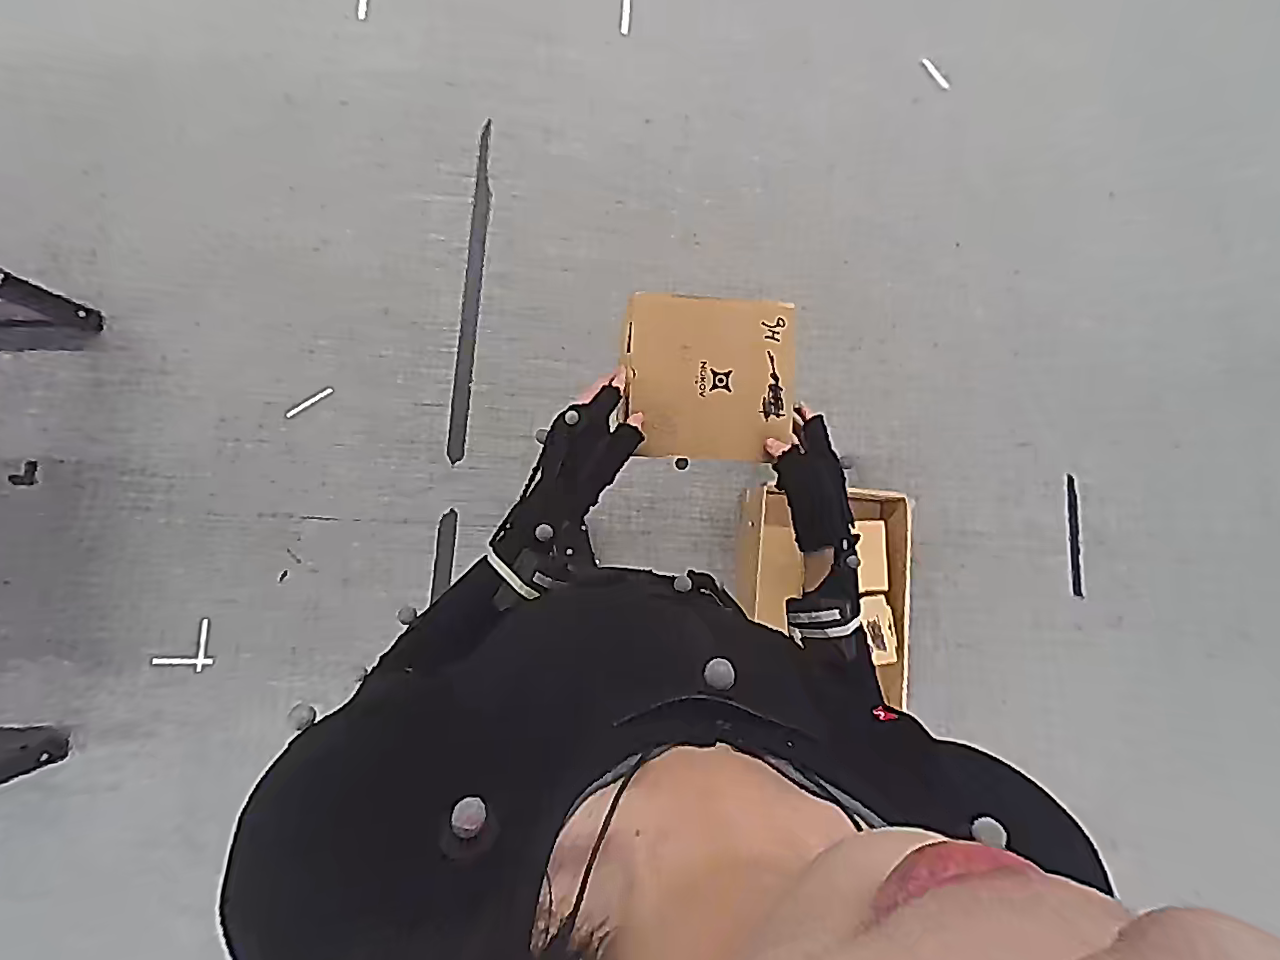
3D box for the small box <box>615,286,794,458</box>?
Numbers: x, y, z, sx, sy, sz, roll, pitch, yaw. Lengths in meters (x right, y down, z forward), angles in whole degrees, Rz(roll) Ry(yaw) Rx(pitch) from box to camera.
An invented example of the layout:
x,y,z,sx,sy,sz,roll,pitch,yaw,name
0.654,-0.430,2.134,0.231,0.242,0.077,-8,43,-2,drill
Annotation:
x,y,z,sx,sy,sz,roll,pitch,yaw,name
0.061,-0.111,0.624,0.179,0.176,0.168,2,92,-5,small box
